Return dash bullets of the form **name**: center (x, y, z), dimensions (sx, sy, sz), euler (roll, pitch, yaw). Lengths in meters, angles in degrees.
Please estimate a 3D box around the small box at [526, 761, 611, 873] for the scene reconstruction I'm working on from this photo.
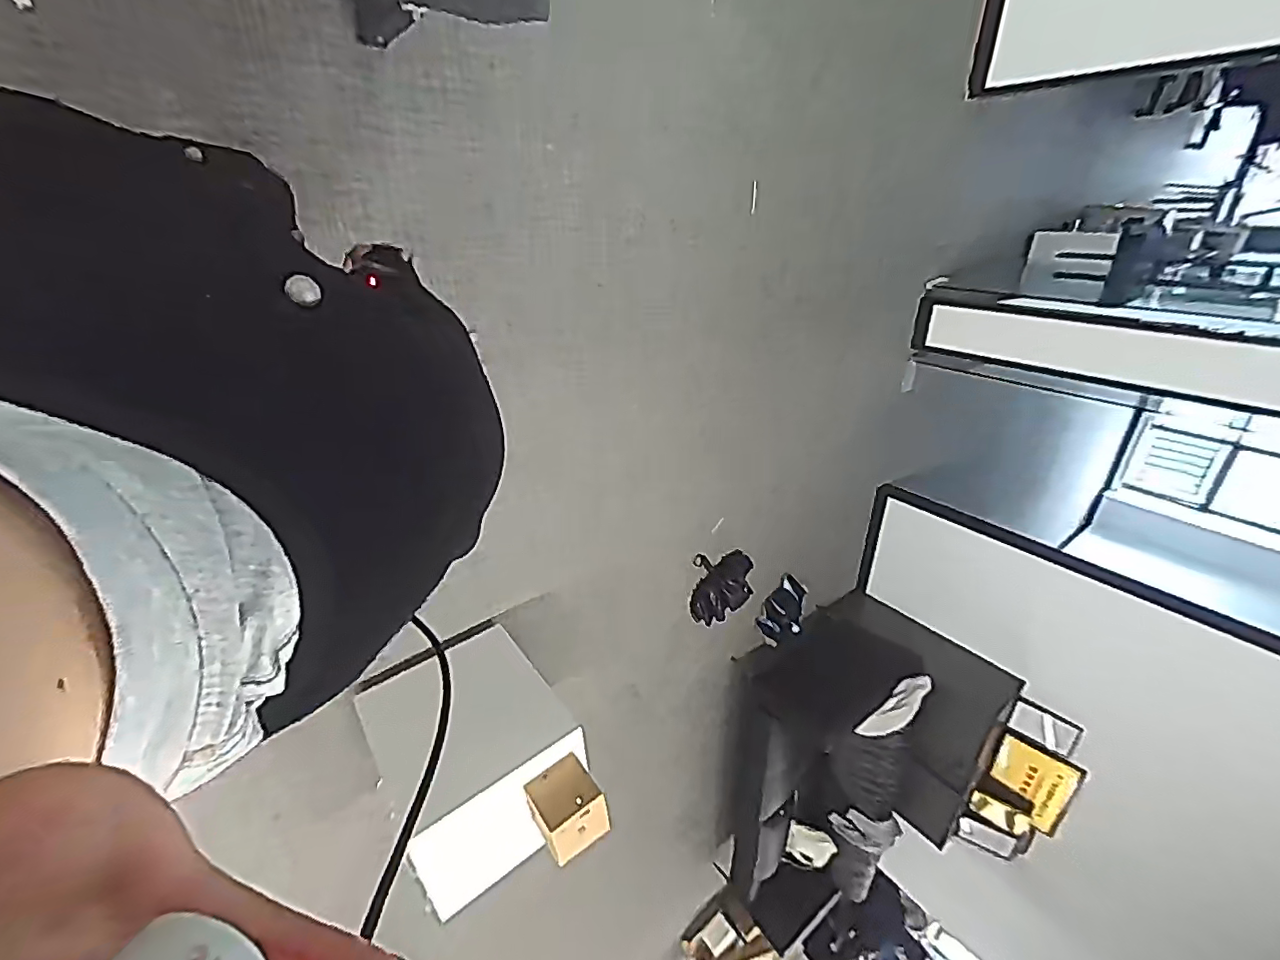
- **small box**: center (-0.201, 0.935, 1.515), dimensions (0.168, 0.176, 0.179), euler (-24, 126, -30)
